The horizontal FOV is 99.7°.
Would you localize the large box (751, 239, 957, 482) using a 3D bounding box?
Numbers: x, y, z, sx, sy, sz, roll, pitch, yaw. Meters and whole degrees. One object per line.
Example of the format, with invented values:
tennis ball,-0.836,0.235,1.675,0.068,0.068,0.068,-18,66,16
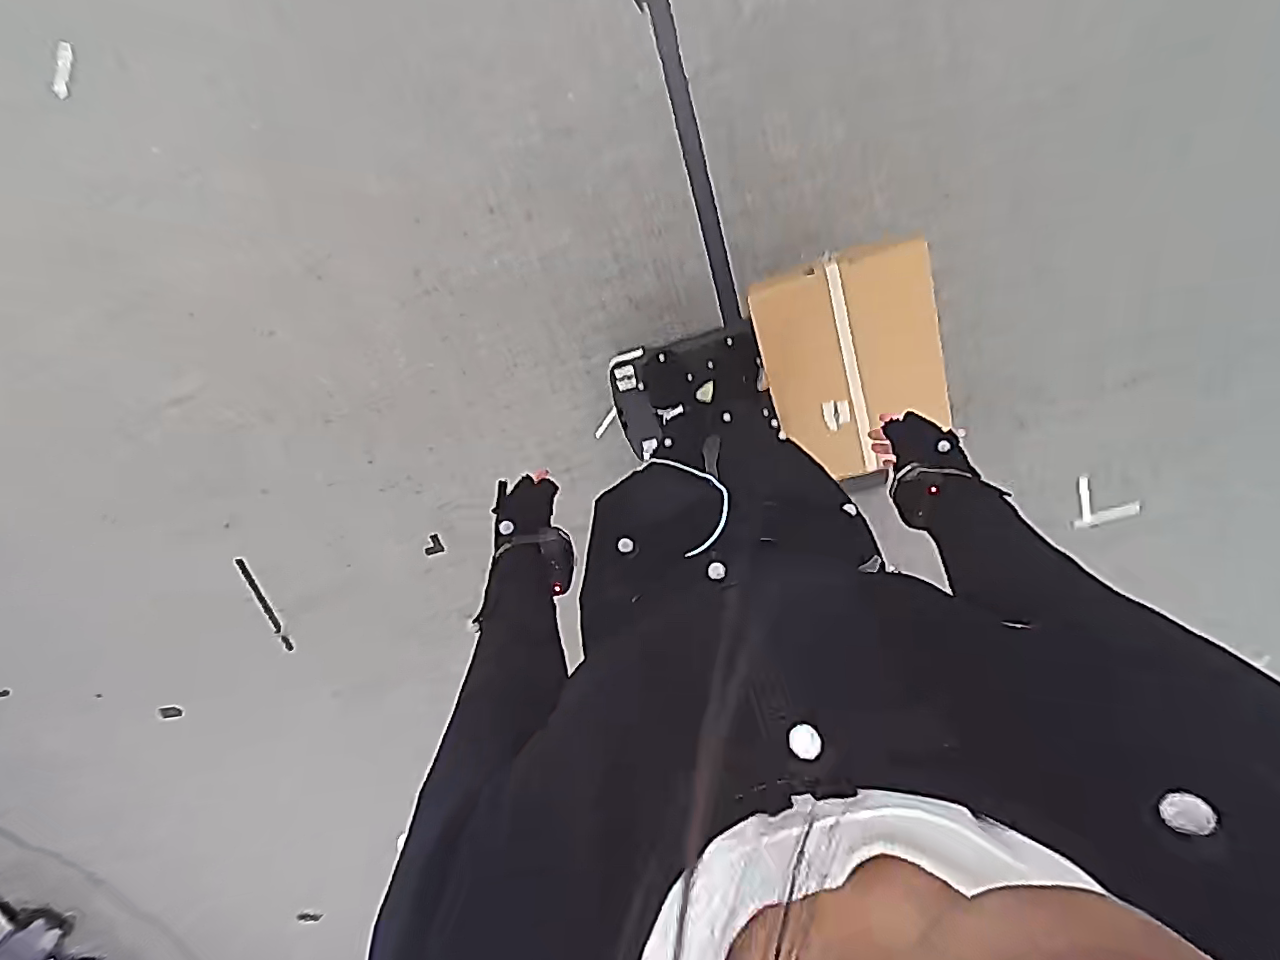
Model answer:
large box,0.441,-0.263,1.169,0.320,0.320,0.408,-13,110,18
